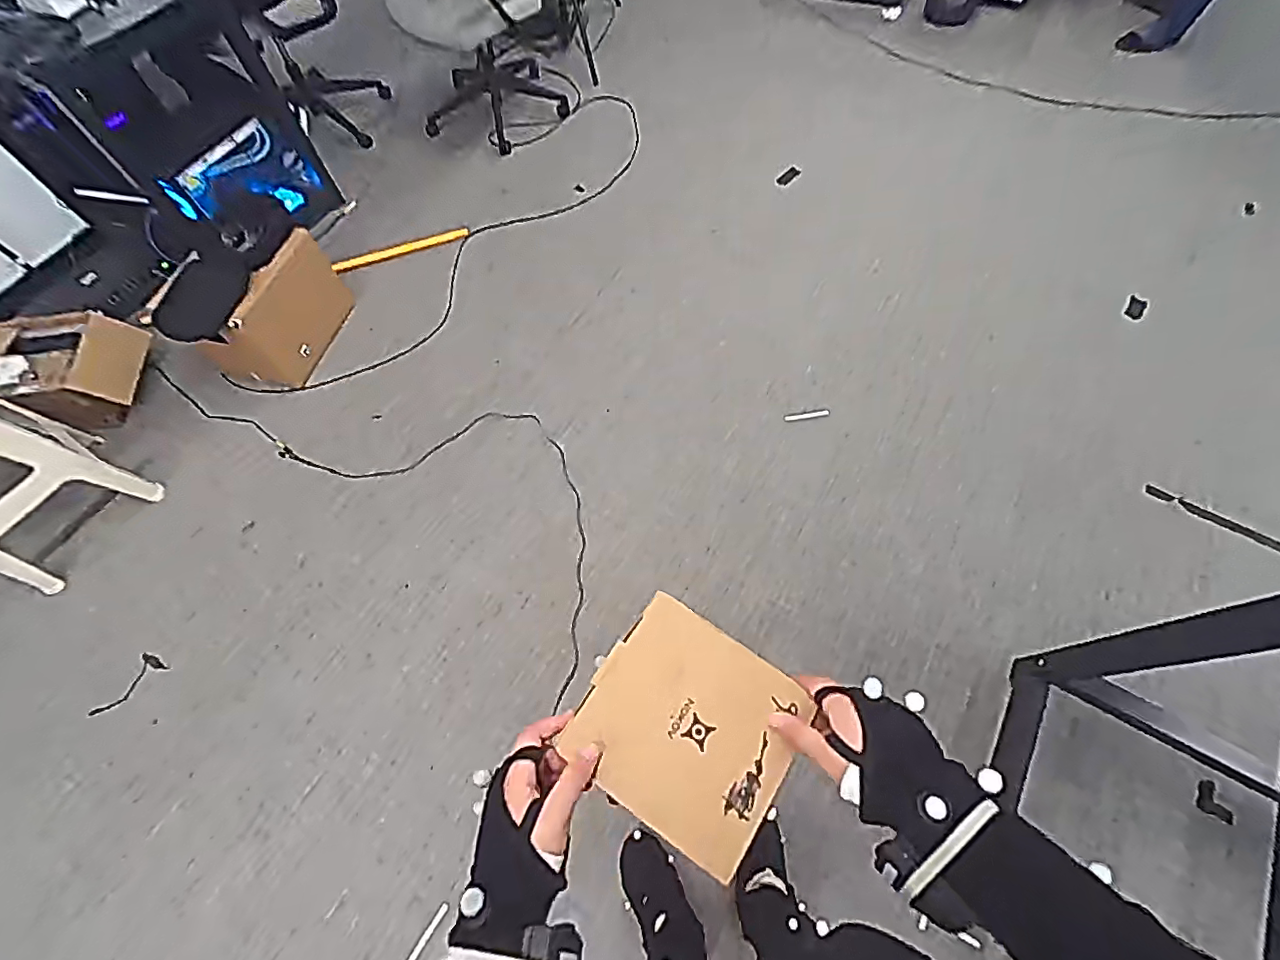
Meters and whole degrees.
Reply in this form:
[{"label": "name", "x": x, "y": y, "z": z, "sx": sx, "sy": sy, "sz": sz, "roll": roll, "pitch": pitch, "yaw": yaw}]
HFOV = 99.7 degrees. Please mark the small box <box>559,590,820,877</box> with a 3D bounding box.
[{"label": "small box", "x": 0.041, "y": 0.240, "z": 0.542, "sx": 0.179, "sy": 0.176, "sz": 0.168, "roll": 34, "pitch": 70, "yaw": 10}]
